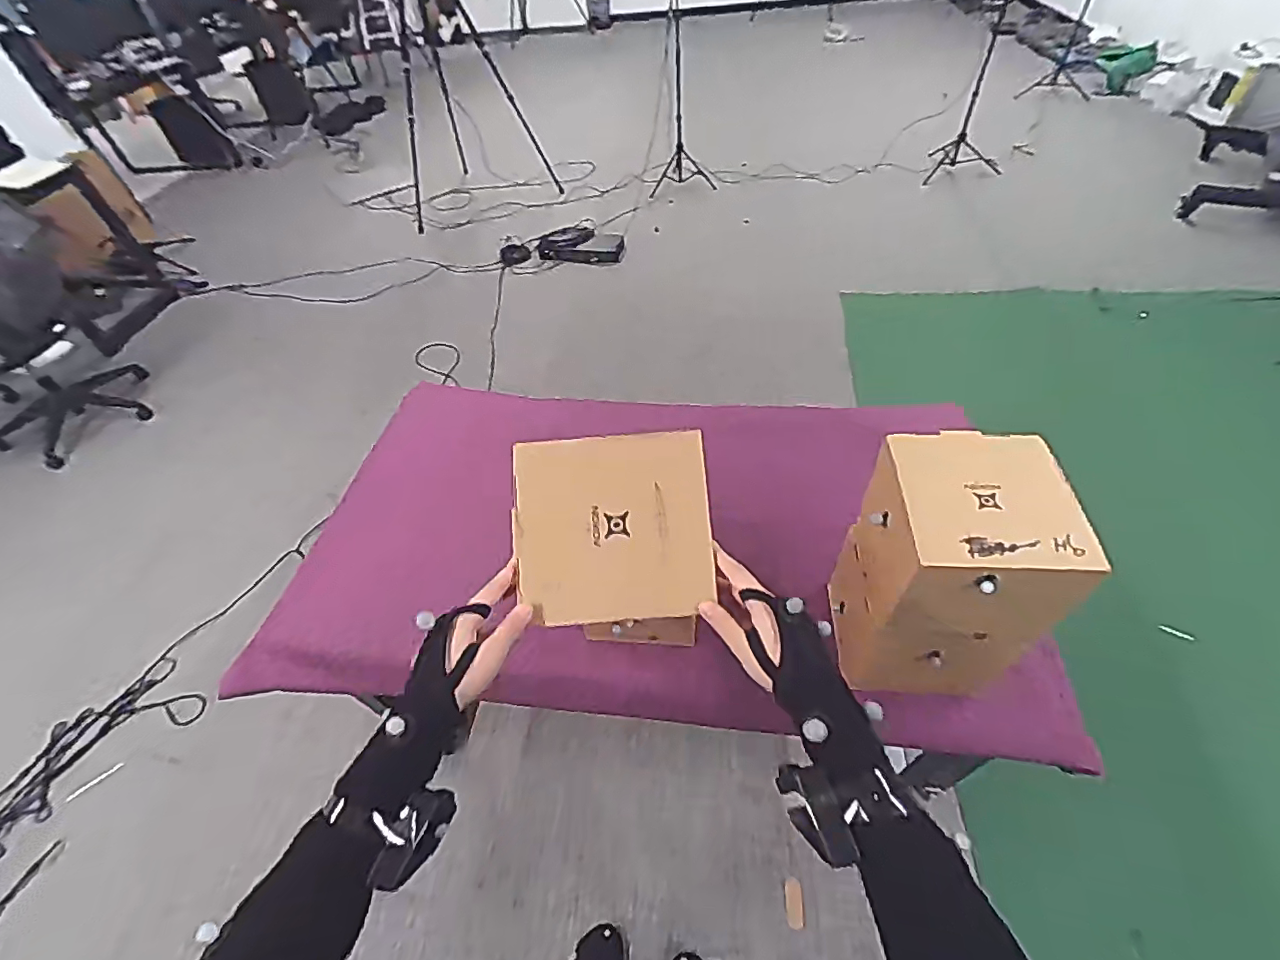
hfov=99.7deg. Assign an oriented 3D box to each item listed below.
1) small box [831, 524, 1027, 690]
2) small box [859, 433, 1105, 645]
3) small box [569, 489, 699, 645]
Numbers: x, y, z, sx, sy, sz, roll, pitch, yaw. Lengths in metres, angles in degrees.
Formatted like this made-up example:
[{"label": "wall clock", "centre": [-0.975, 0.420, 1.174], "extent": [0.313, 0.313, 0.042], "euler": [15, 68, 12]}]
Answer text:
[{"label": "small box", "centre": [0.372, 0.175, 0.736], "extent": [0.179, 0.176, 0.168], "euler": [-1, 50, 8]}, {"label": "small box", "centre": [0.358, 0.067, 0.613], "extent": [0.168, 0.176, 0.179], "euler": [-1, 49, 9]}, {"label": "small box", "centre": [0.003, 0.133, 0.818], "extent": [0.168, 0.176, 0.179], "euler": [1, 48, 8]}]
